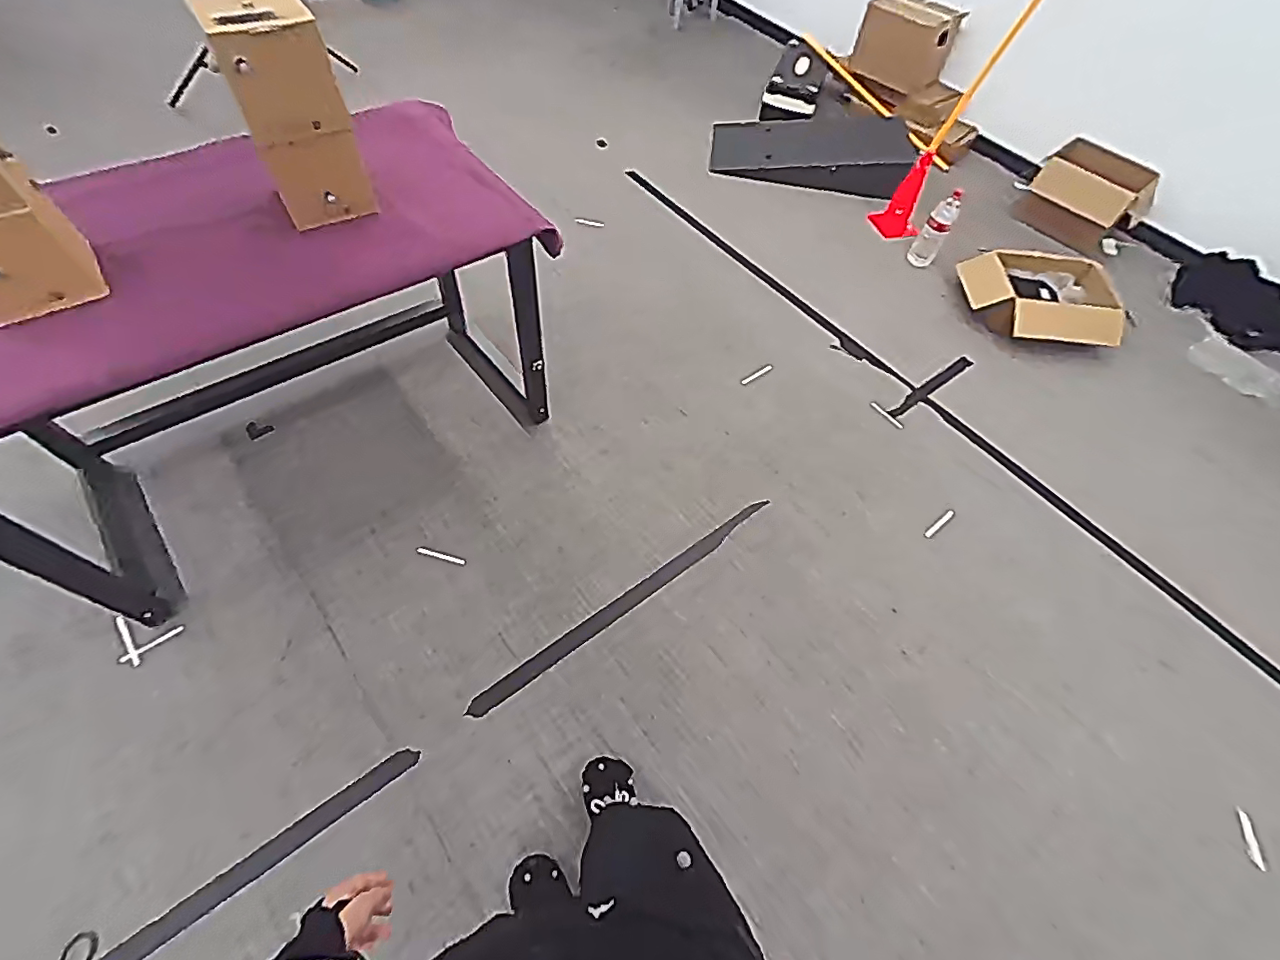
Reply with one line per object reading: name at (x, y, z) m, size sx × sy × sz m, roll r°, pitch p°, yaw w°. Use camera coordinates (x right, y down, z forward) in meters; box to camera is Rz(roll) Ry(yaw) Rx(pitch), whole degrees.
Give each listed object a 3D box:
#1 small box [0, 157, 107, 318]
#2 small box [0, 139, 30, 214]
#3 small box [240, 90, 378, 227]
small box at (-1.049, -0.393, 0.898) m, size 0.168 × 0.176 × 0.179 m, roll -31°, pitch 66°, yaw -22°
small box at (-1.038, -0.484, 0.762) m, size 0.168 × 0.176 × 0.179 m, roll -32°, pitch 65°, yaw -23°
small box at (-0.665, -0.650, 1.098) m, size 0.168 × 0.176 × 0.179 m, roll -27°, pitch 65°, yaw -20°
